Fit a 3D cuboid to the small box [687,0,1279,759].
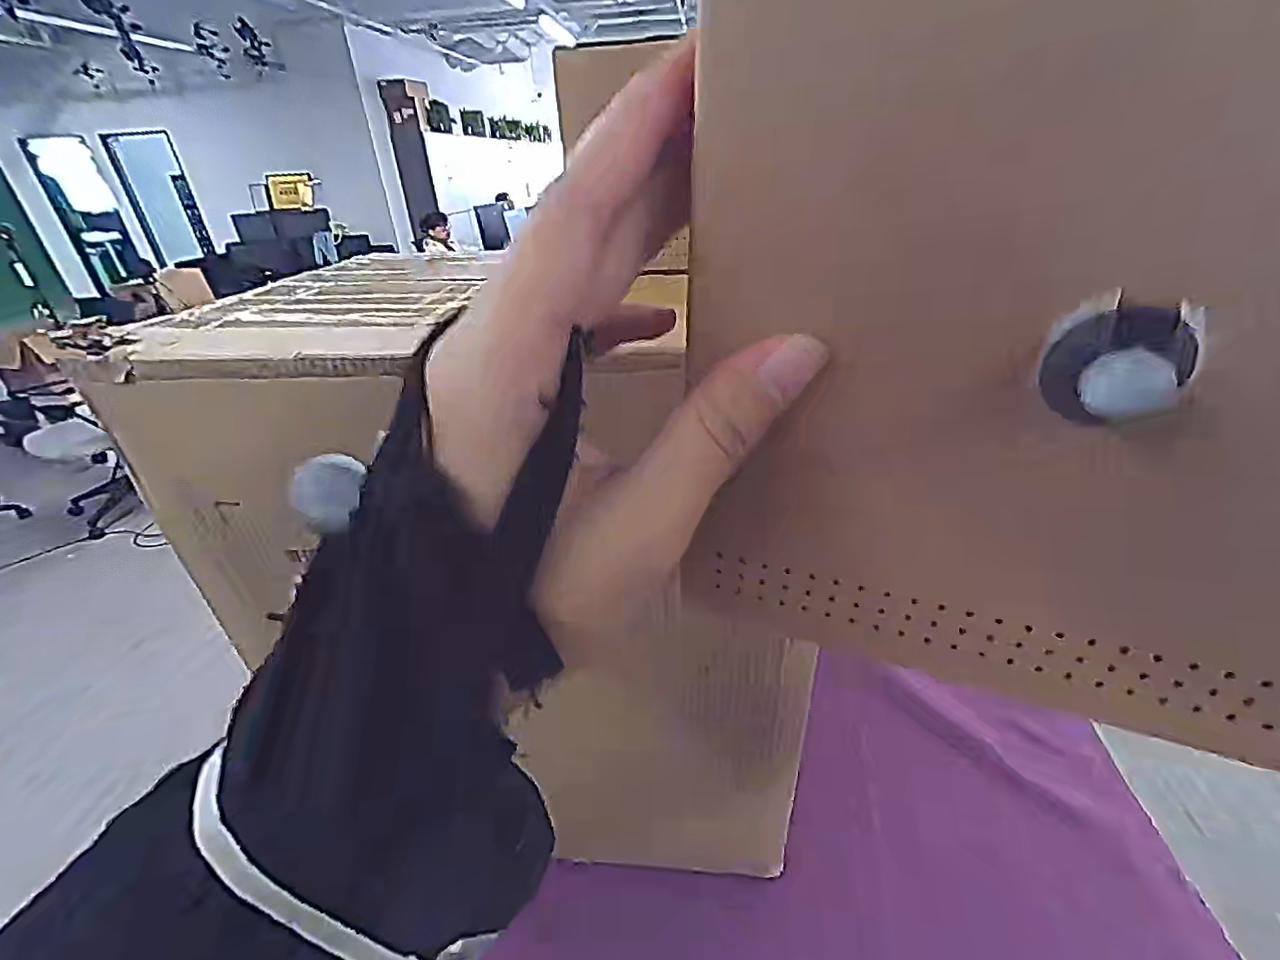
[{"bbox_3d":[0.120,-0.052,0.161,0.179,0.176,0.168,11,36,18],"label":"small box"}]
